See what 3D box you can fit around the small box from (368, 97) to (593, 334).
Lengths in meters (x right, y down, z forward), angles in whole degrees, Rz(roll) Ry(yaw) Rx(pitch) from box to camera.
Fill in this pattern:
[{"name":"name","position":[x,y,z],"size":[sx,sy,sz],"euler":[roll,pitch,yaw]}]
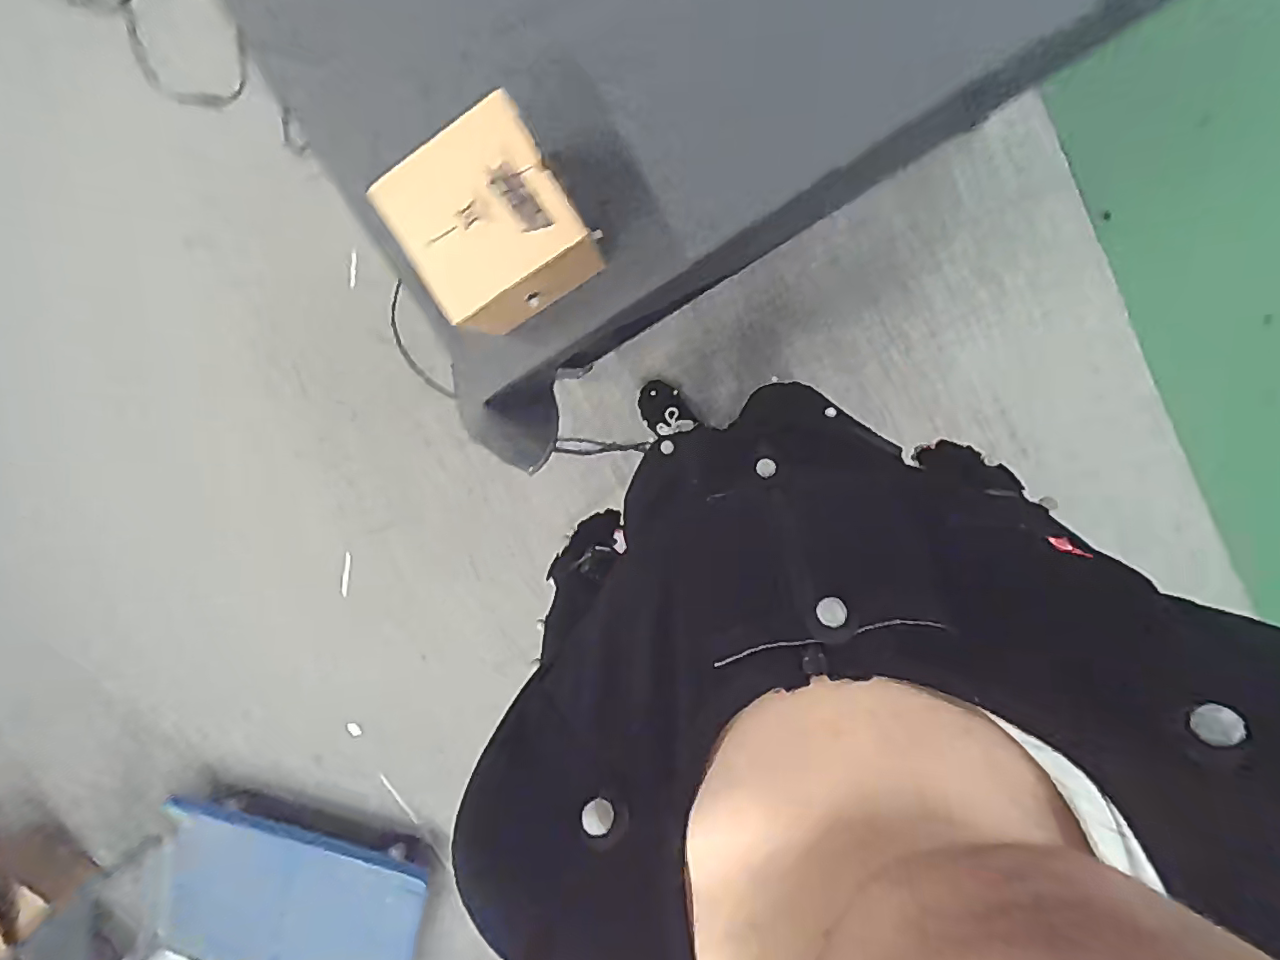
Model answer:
[{"name":"small box","position":[-0.169,-0.292,0.643],"size":[0.179,0.176,0.168],"euler":[-31,97,9]}]
